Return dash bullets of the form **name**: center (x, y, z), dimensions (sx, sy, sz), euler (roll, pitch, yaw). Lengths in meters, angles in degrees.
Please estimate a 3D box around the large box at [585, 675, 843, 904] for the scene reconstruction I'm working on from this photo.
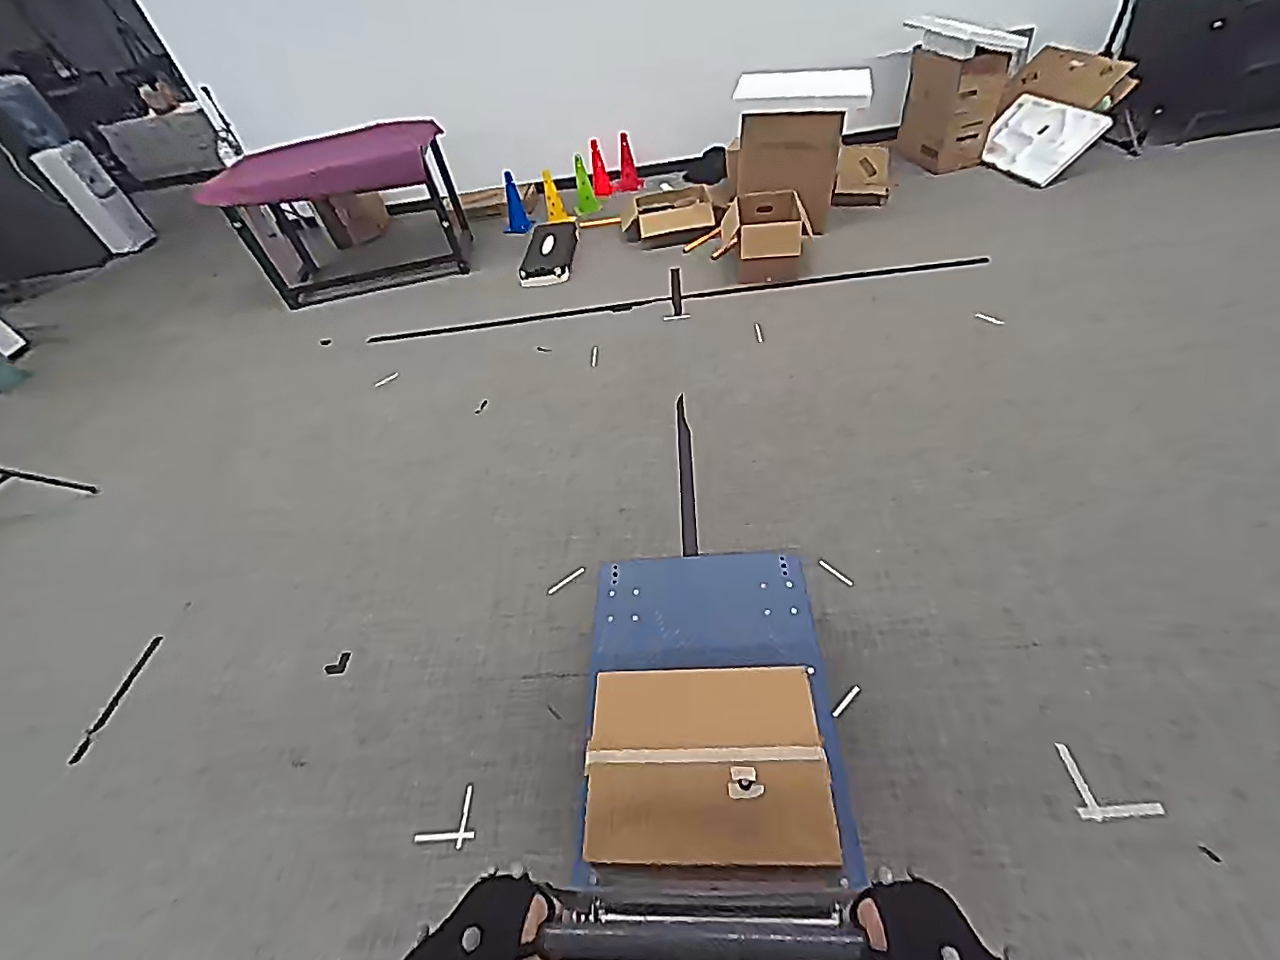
- **large box**: center (0.127, 0.594, 1.031), dimensions (0.408, 0.320, 0.320), euler (-4, 47, 6)
